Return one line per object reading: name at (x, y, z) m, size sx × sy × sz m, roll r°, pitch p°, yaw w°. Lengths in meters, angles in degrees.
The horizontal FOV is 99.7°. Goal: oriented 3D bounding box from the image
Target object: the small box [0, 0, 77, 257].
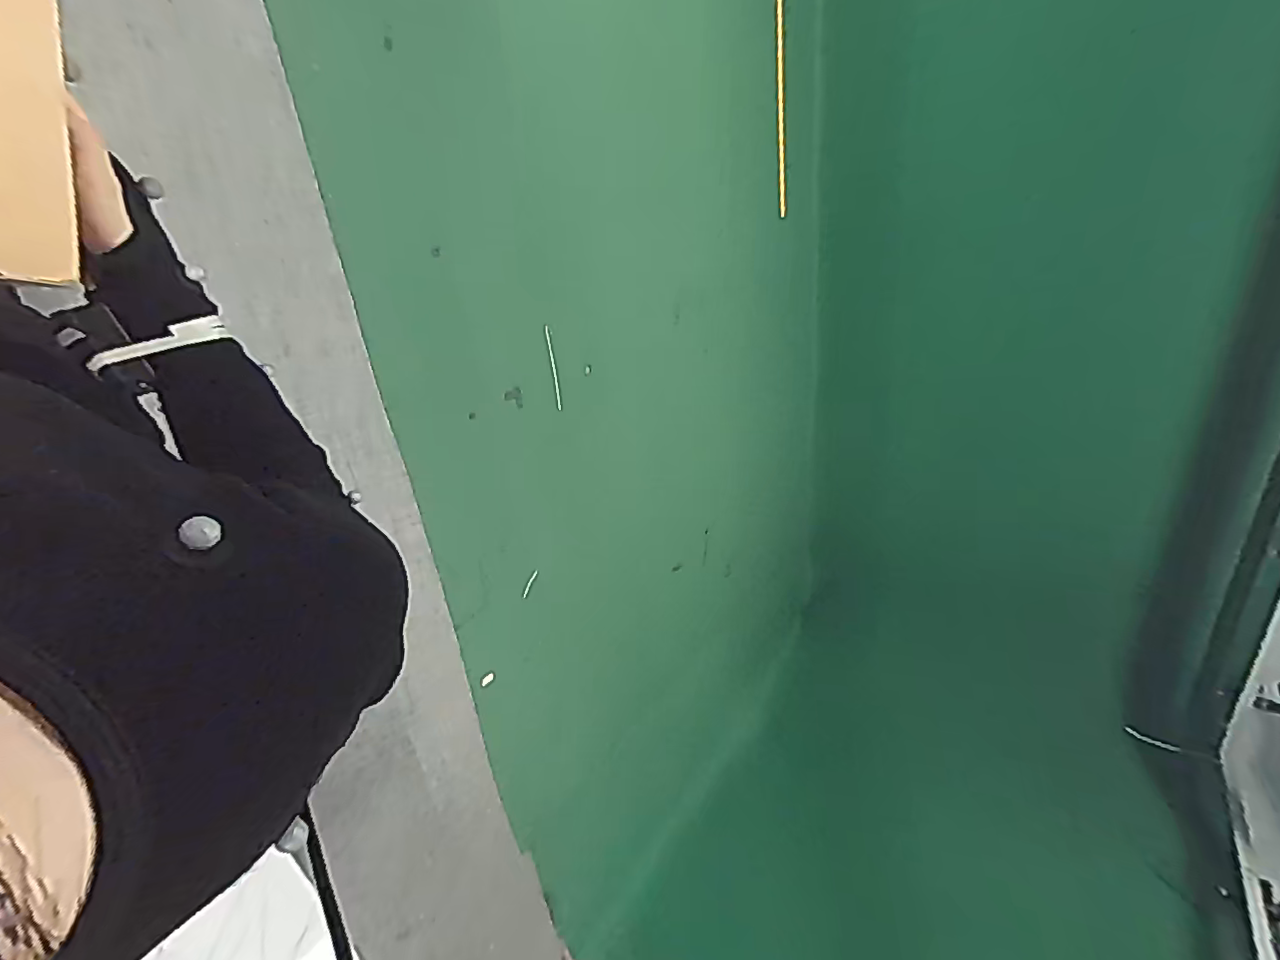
small box at (-0.416, -0.217, 0.257) m, size 0.168 × 0.176 × 0.179 m, roll -12°, pitch 112°, yaw -59°
